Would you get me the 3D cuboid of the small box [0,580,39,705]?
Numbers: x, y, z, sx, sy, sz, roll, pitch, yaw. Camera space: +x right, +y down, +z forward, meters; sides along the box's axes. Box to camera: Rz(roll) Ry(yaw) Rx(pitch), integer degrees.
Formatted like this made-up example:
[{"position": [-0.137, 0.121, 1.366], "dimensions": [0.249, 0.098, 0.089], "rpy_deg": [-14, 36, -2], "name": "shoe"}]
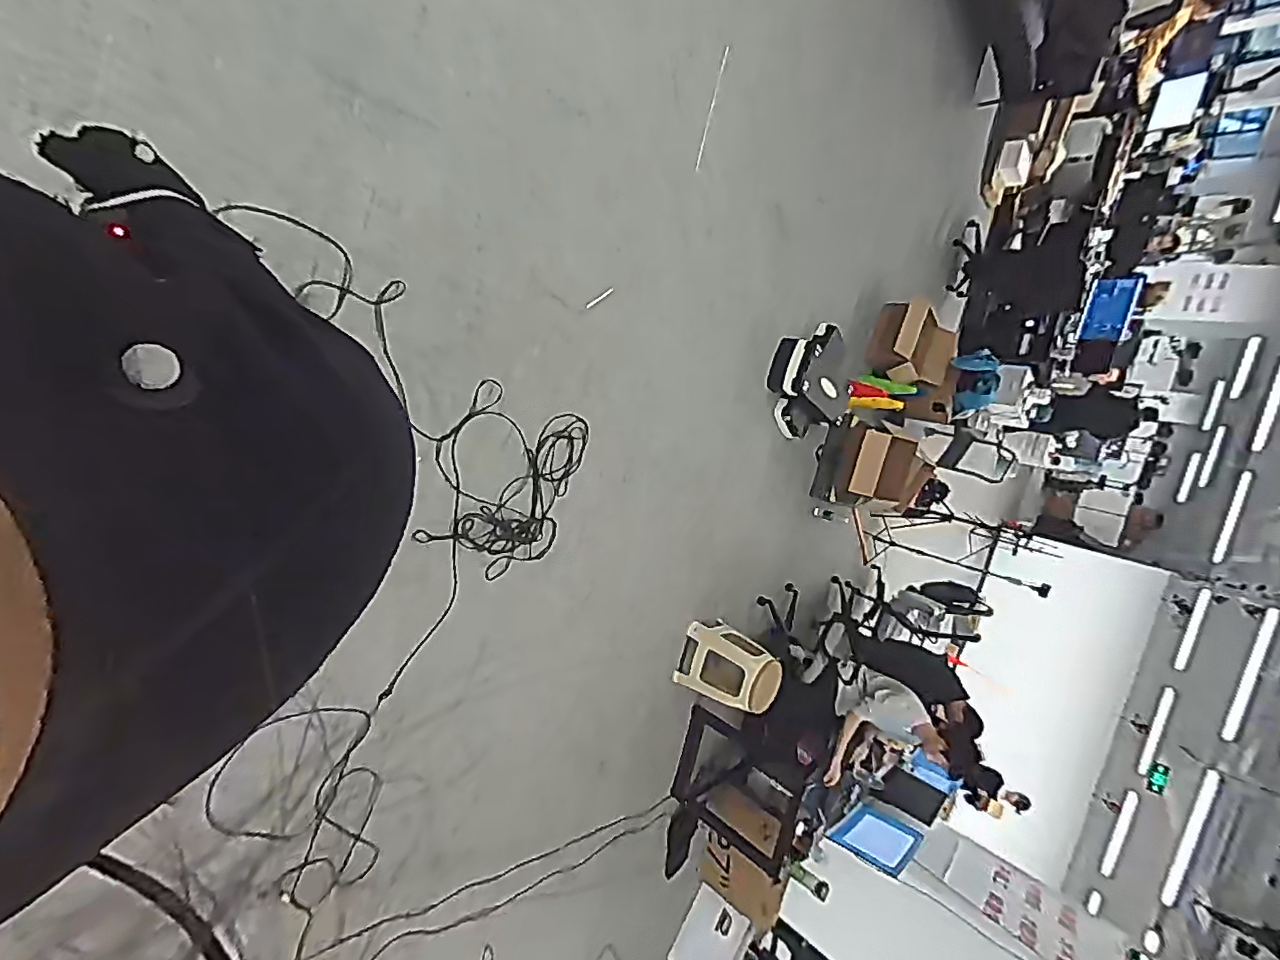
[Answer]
[{"position": [-1.213, 0.291, 0.967], "dimensions": [0.168, 0.176, 0.179], "rpy_deg": [12, 95, -50], "name": "small box"}]
